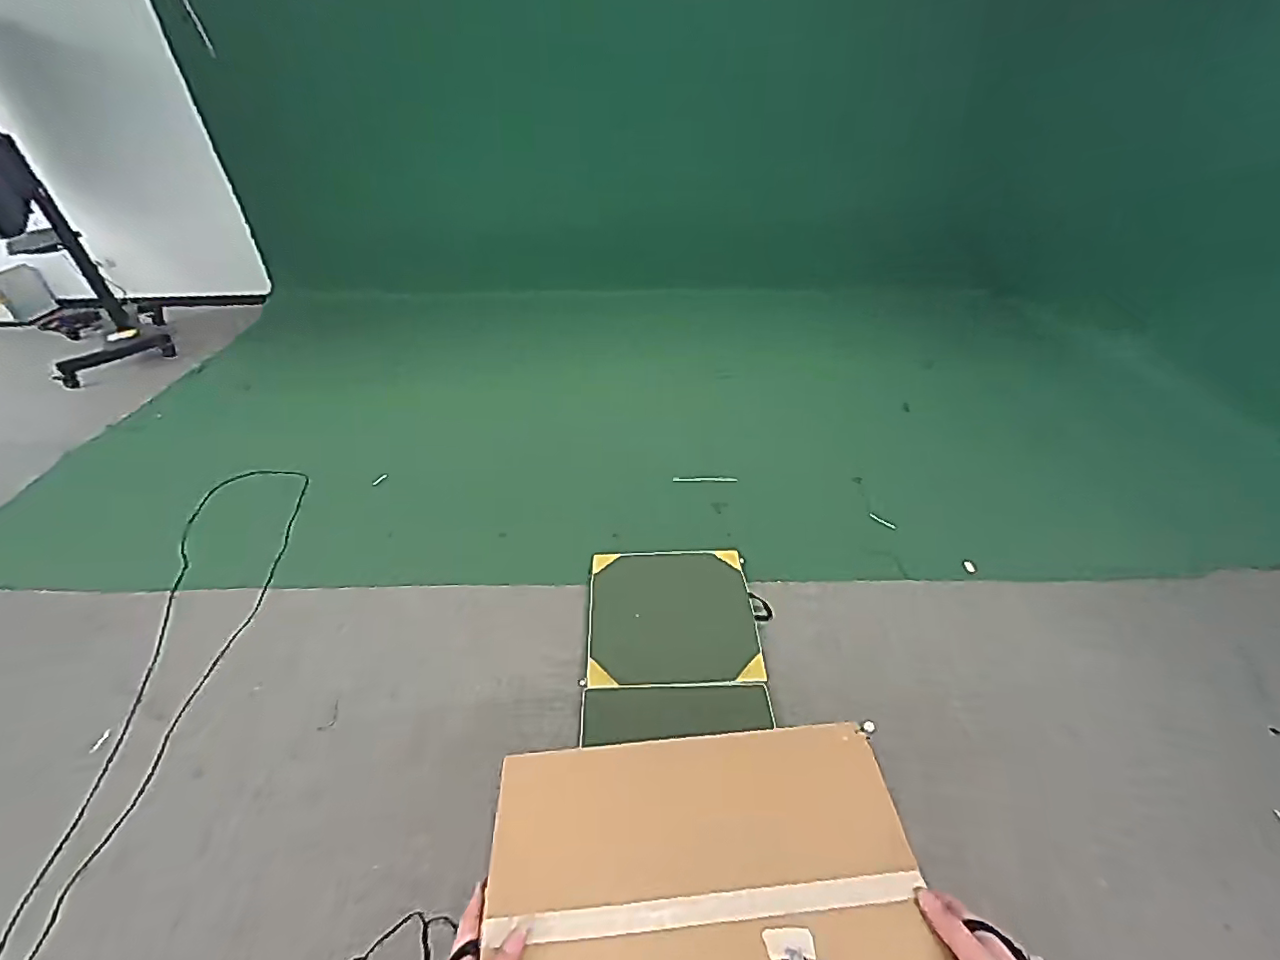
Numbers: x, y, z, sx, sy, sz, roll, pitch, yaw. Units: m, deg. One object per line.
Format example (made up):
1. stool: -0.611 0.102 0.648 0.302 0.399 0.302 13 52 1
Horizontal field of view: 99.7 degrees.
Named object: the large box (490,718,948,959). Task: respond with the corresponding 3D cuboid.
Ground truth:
1. large box: 0.067 0.506 0.595 0.408 0.320 0.320 -5 39 -2
